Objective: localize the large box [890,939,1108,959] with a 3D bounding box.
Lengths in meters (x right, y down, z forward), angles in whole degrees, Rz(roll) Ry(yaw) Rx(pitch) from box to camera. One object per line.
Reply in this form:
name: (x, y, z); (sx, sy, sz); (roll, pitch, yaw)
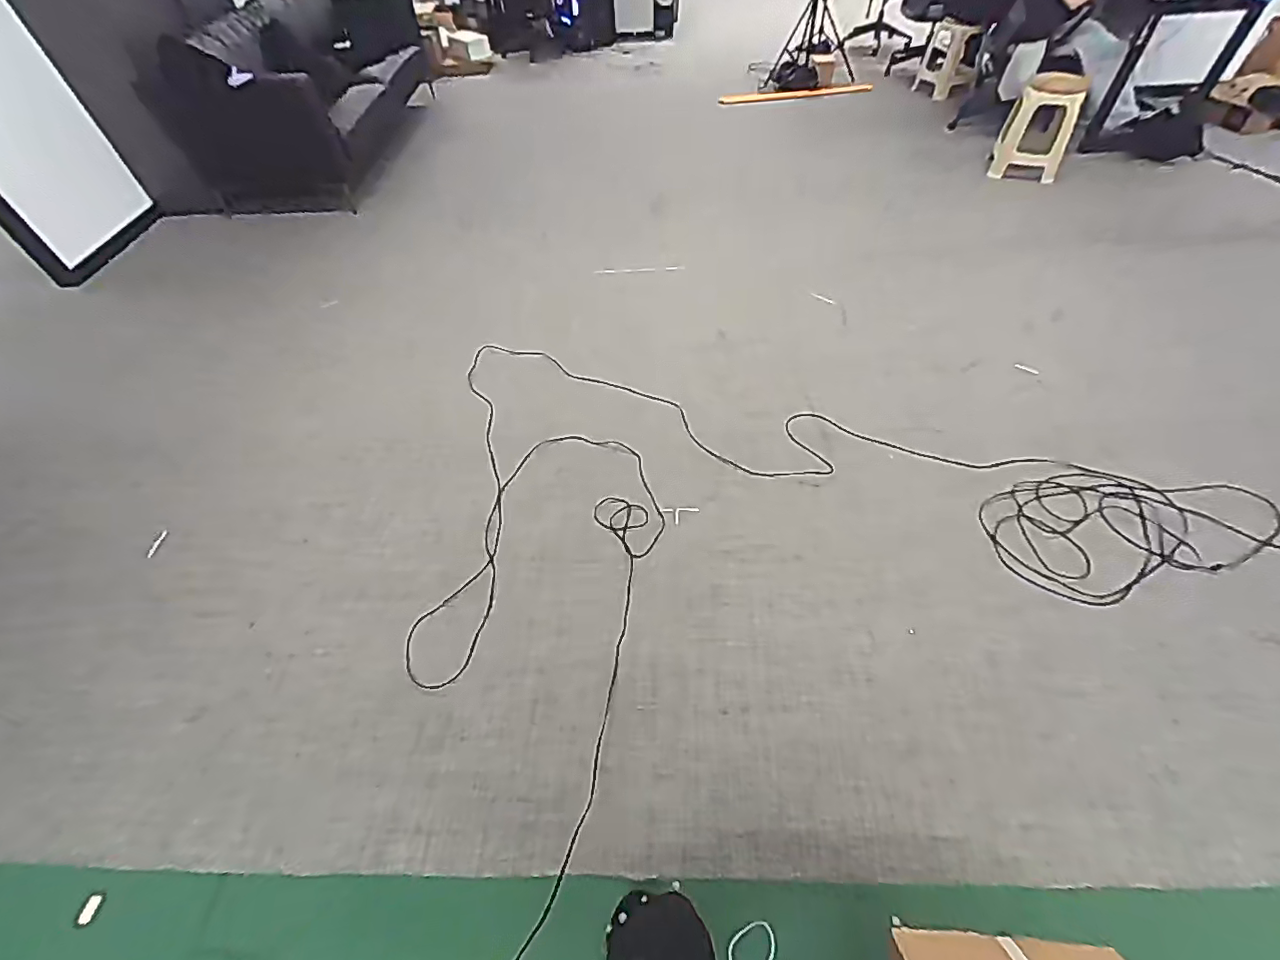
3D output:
large box: (0.506, 0.813, 0.581); (0.320, 0.408, 0.320); (2, 83, 6)
